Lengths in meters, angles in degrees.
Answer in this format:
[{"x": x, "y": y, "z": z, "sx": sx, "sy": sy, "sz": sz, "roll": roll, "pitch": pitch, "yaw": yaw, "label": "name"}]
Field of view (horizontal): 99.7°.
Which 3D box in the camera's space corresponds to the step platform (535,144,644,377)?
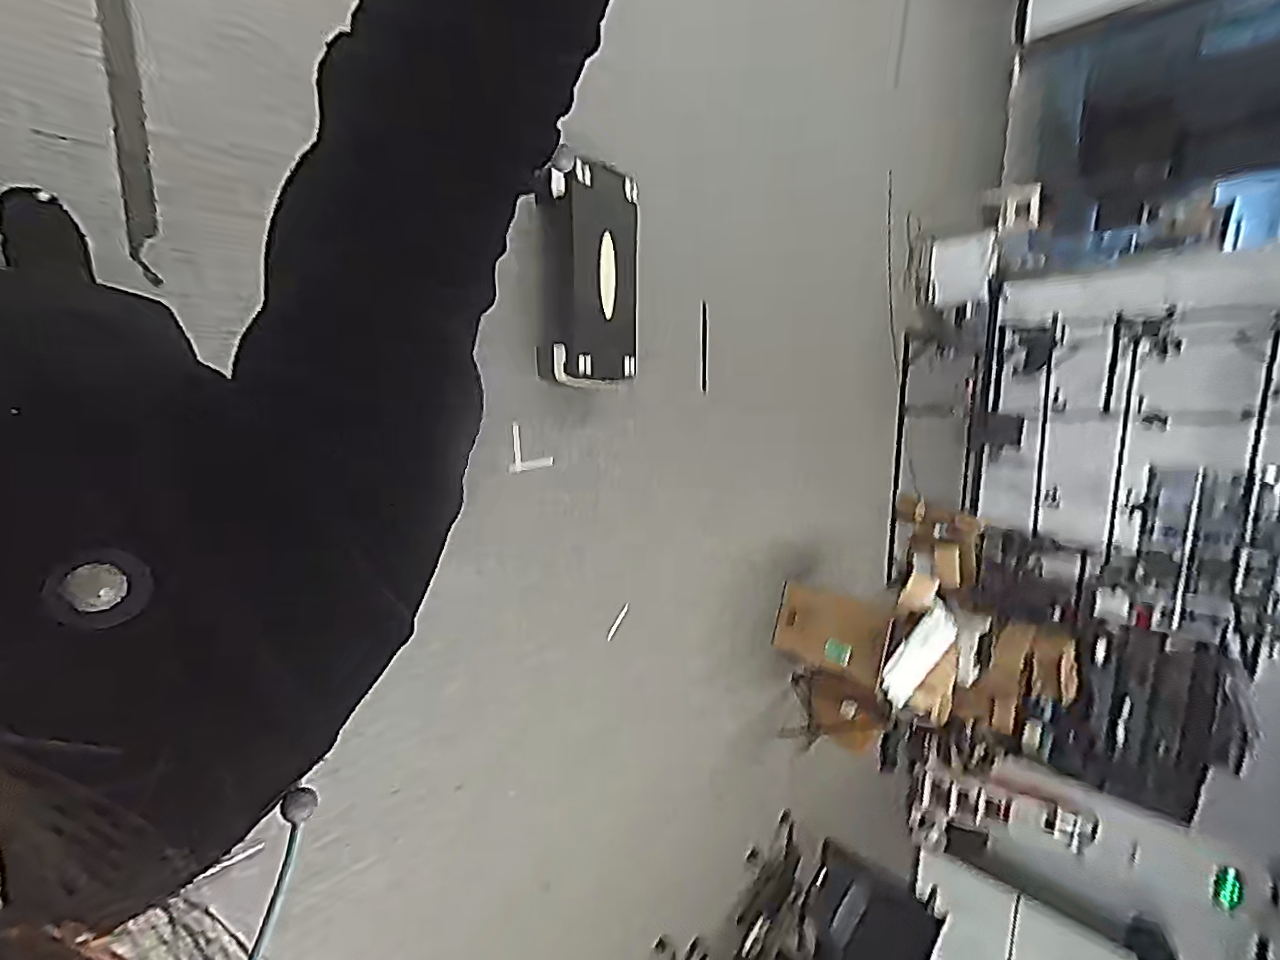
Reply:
[{"x": -0.158, "y": -0.687, "z": 1.761, "sx": 0.286, "sy": 0.204, "sz": 0.684, "roll": -2, "pitch": 97, "yaw": -45, "label": "step platform"}]
